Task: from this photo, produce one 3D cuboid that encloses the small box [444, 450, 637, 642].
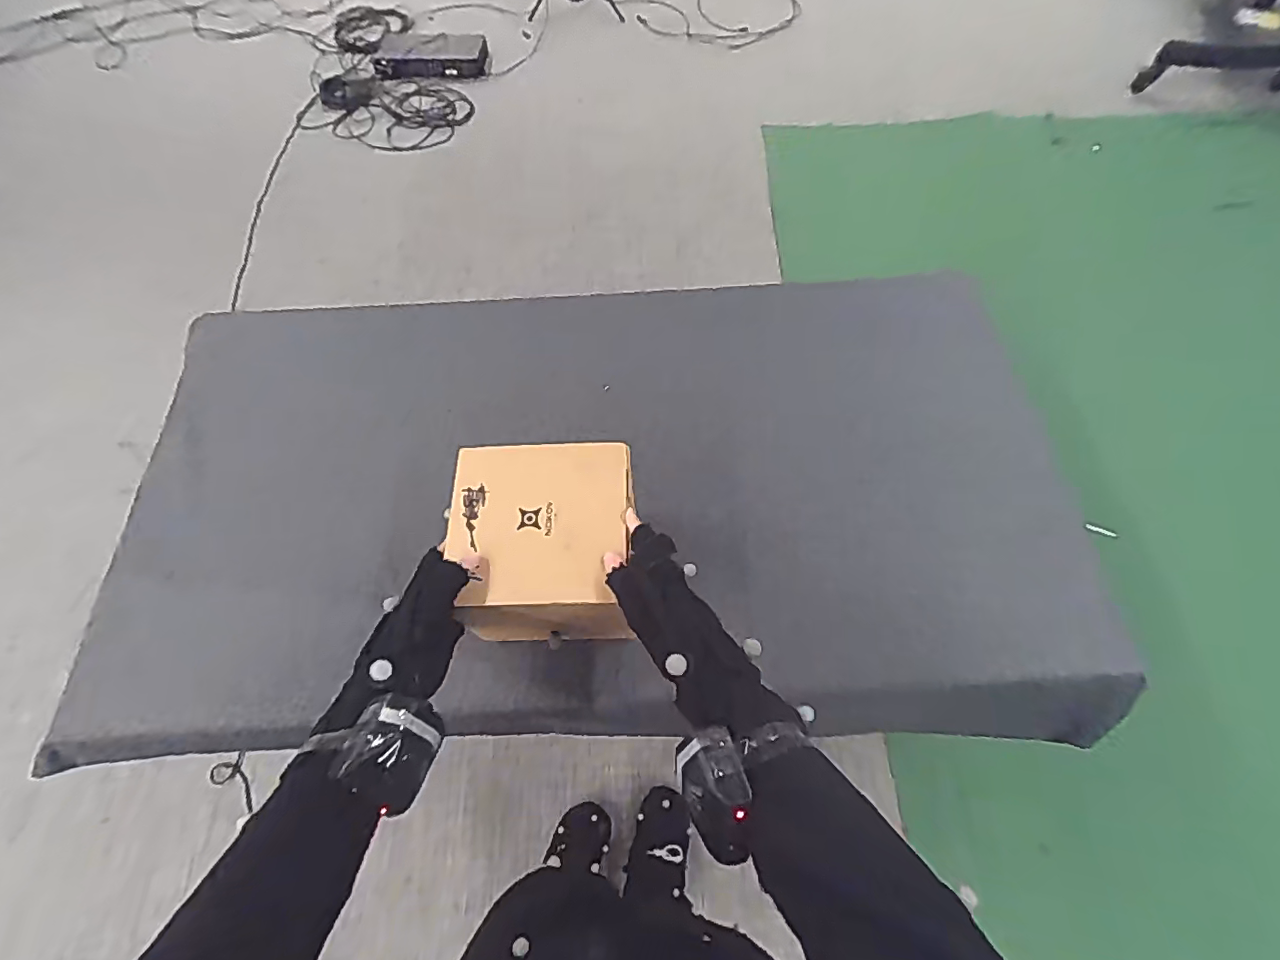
[{"bbox_3d":[-0.092,0.079,0.595,0.179,0.176,0.168,-2,63,0],"label":"small box"}]
